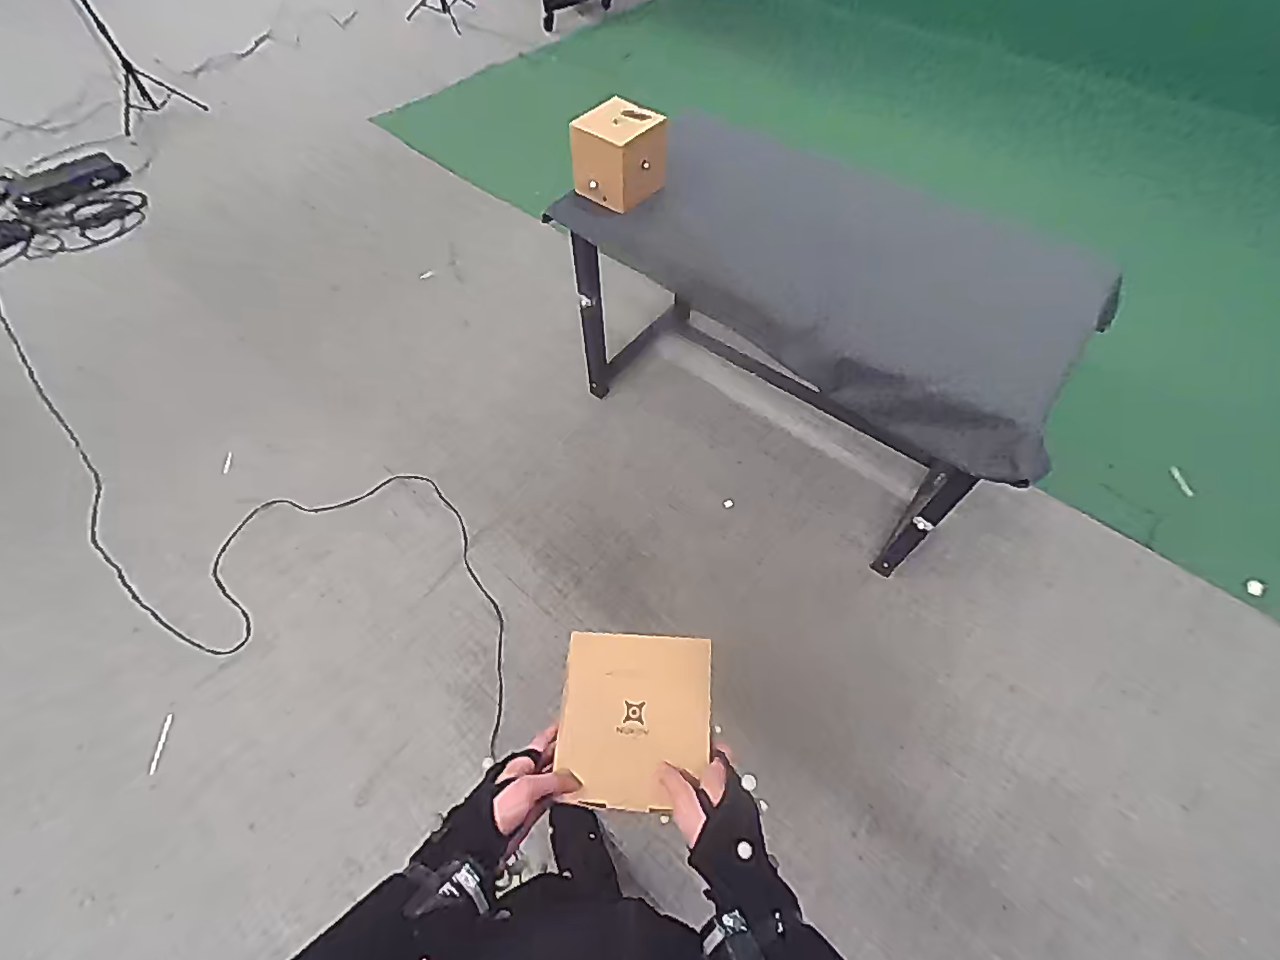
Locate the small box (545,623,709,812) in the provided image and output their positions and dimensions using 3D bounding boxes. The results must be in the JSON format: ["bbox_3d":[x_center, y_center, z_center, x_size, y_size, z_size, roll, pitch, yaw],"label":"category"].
[{"bbox_3d":[-0.003,0.281,0.644,0.168,0.176,0.179,2,62,6],"label":"small box"}]

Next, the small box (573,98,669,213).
[{"bbox_3d":[-0.047,-0.805,1.346,0.168,0.176,0.179,34,64,20],"label":"small box"}]
